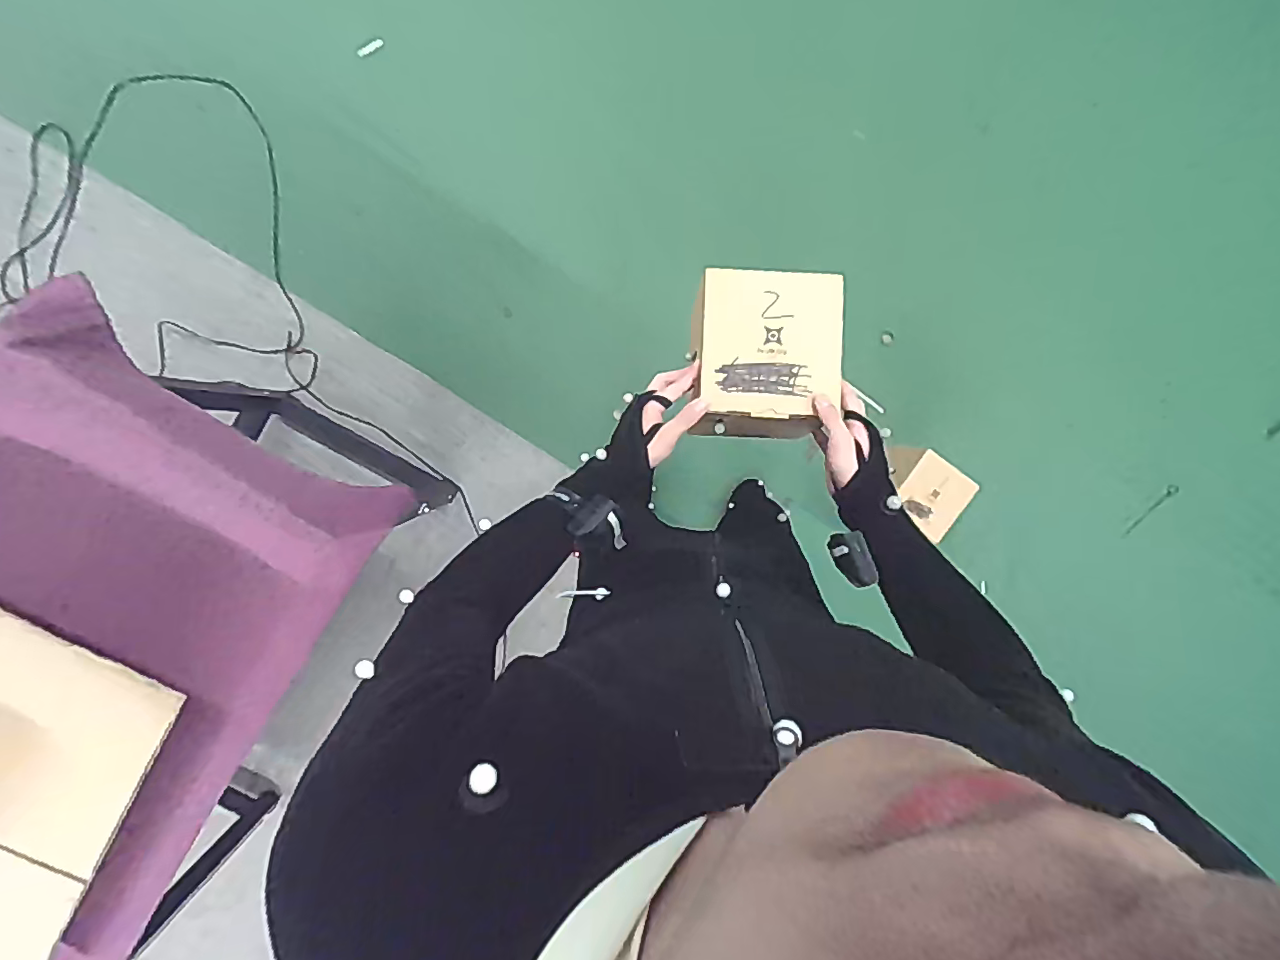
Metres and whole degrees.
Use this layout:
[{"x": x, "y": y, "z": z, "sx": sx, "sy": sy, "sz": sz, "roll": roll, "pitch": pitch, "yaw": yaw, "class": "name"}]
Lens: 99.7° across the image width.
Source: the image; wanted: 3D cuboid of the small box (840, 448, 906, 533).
[{"x": 0.705, "y": 0.021, "z": 1.541, "sx": 0.168, "sy": 0.176, "sz": 0.179, "roll": 34, "pitch": 94, "yaw": -5, "class": "small box"}]

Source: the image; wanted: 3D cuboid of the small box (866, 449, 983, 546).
[{"x": 0.710, "y": 0.038, "z": 1.378, "sx": 0.168, "sy": 0.176, "sz": 0.179, "roll": 36, "pitch": 93, "yaw": -5, "class": "small box"}]
